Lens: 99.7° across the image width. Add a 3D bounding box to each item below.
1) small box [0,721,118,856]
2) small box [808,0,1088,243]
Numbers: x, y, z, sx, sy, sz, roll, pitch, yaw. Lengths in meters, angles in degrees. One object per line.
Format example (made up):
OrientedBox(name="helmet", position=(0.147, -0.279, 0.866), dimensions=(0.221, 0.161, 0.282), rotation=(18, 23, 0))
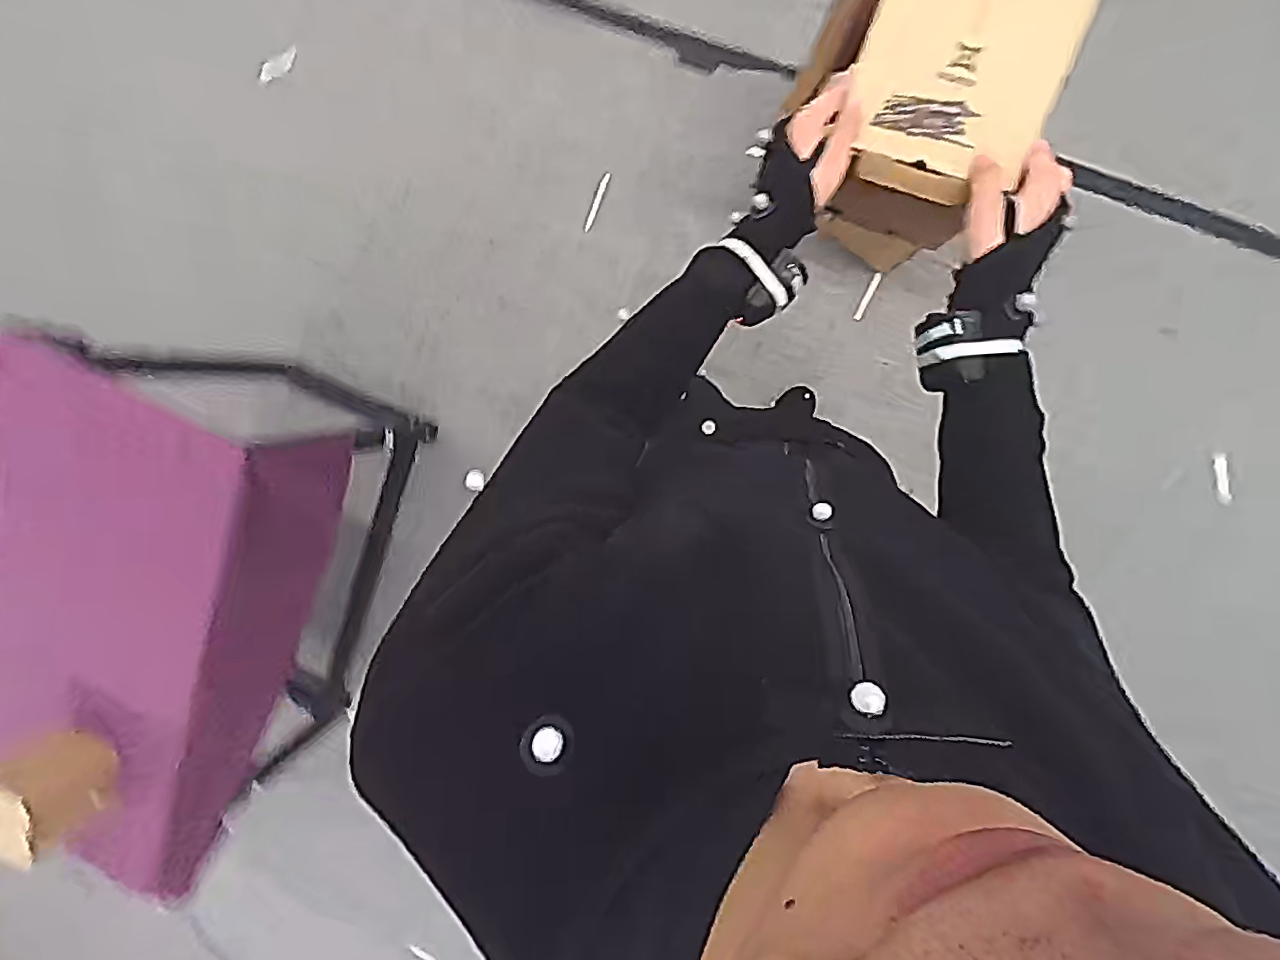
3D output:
OrientedBox(name="small box", position=(-1.319, 0.667, 1.192), dimensions=(0.179, 0.176, 0.168), rotation=(17, 103, 7))
OrientedBox(name="small box", position=(0.284, -0.368, 0.550), dimensions=(0.168, 0.176, 0.179), rotation=(20, 99, 5))
